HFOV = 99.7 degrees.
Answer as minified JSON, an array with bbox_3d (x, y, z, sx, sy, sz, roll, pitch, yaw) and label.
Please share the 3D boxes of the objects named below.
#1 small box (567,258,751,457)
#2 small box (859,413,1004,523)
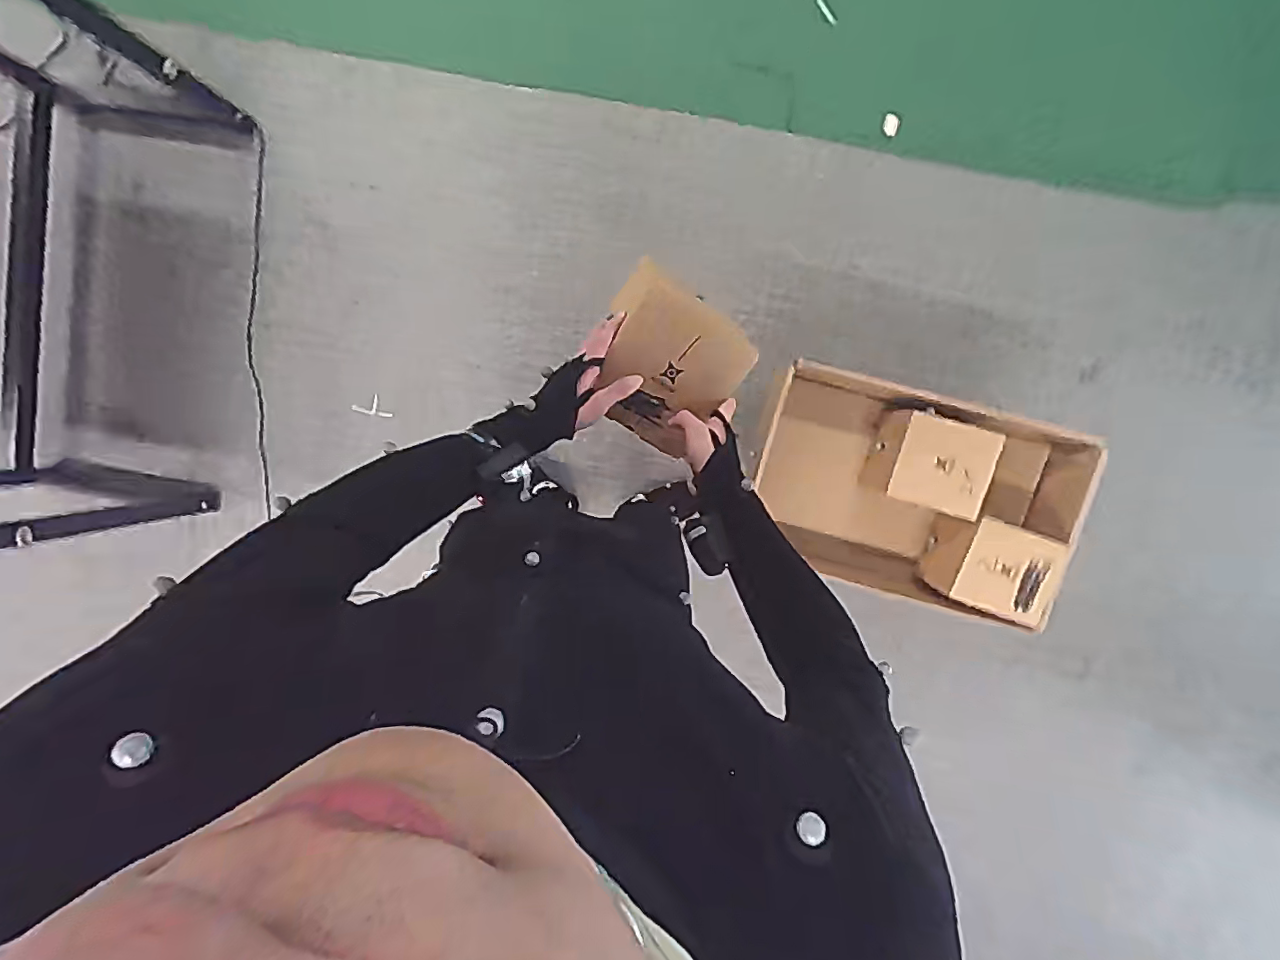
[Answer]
[{"bbox_3d":[0.018,-0.169,0.731,0.168,0.176,0.179,29,114,-21],"label":"small box"},{"bbox_3d":[0.564,-0.029,1.076,0.179,0.176,0.168,17,97,2],"label":"small box"}]
